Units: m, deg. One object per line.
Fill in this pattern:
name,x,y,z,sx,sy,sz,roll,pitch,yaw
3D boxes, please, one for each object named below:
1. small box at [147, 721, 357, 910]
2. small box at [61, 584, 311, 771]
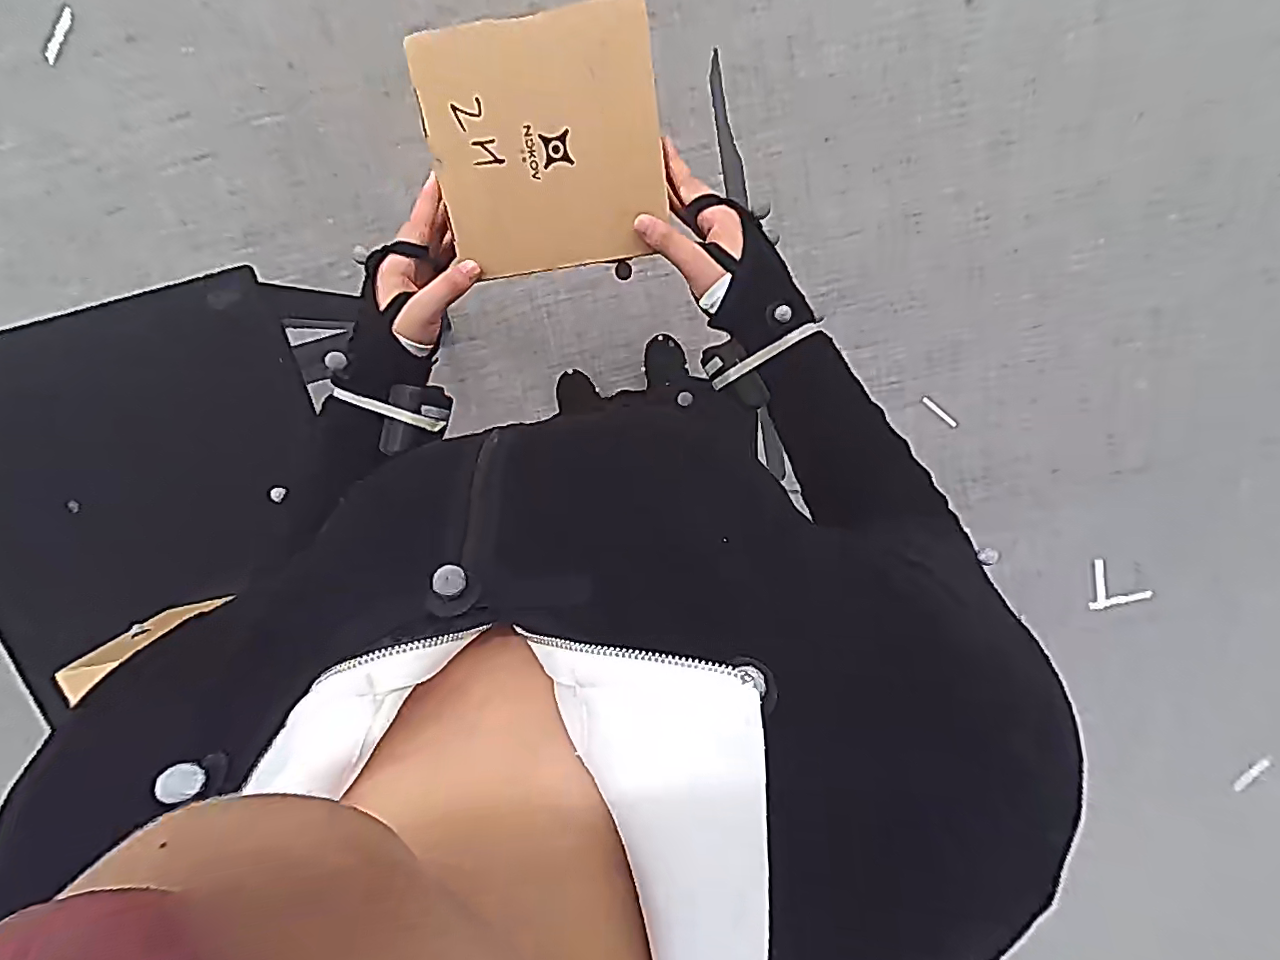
small box,-0.560,0.492,0.815,0.179,0.176,0.168,-12,103,4
small box,-0.615,0.267,0.760,0.179,0.176,0.168,-13,105,4
